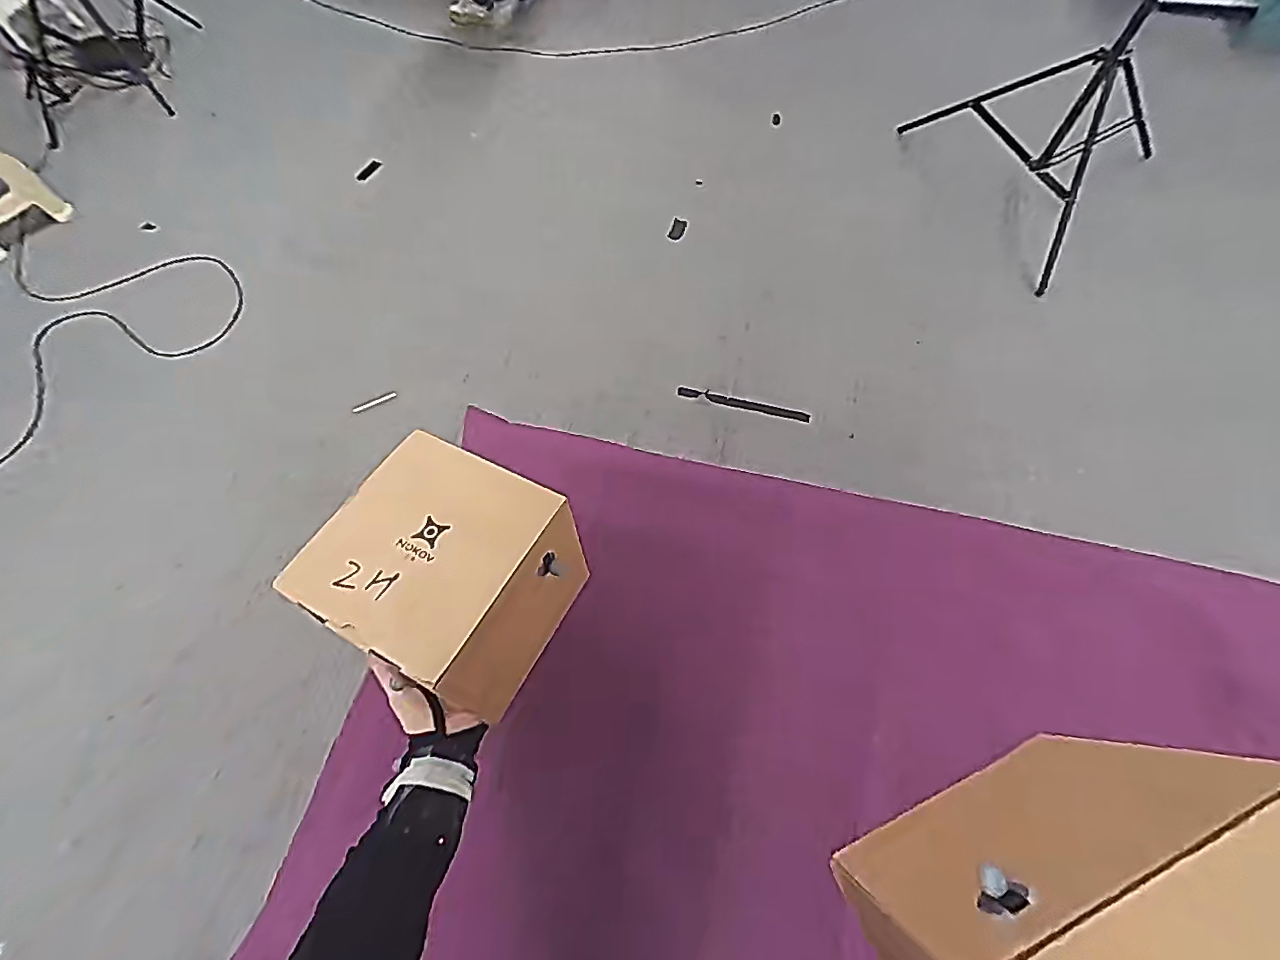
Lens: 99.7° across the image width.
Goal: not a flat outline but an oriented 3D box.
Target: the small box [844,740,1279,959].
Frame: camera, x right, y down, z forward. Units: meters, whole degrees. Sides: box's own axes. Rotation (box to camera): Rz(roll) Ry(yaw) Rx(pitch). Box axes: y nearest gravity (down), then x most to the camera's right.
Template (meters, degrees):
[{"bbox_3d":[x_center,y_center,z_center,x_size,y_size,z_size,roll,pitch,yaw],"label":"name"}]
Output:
[{"bbox_3d":[0.234,0.247,0.260,0.179,0.176,0.168,-25,70,-7],"label":"small box"}]

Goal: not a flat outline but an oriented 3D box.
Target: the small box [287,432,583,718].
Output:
[{"bbox_3d":[-0.166,0.093,0.507,0.168,0.176,0.179,23,61,16],"label":"small box"}]
